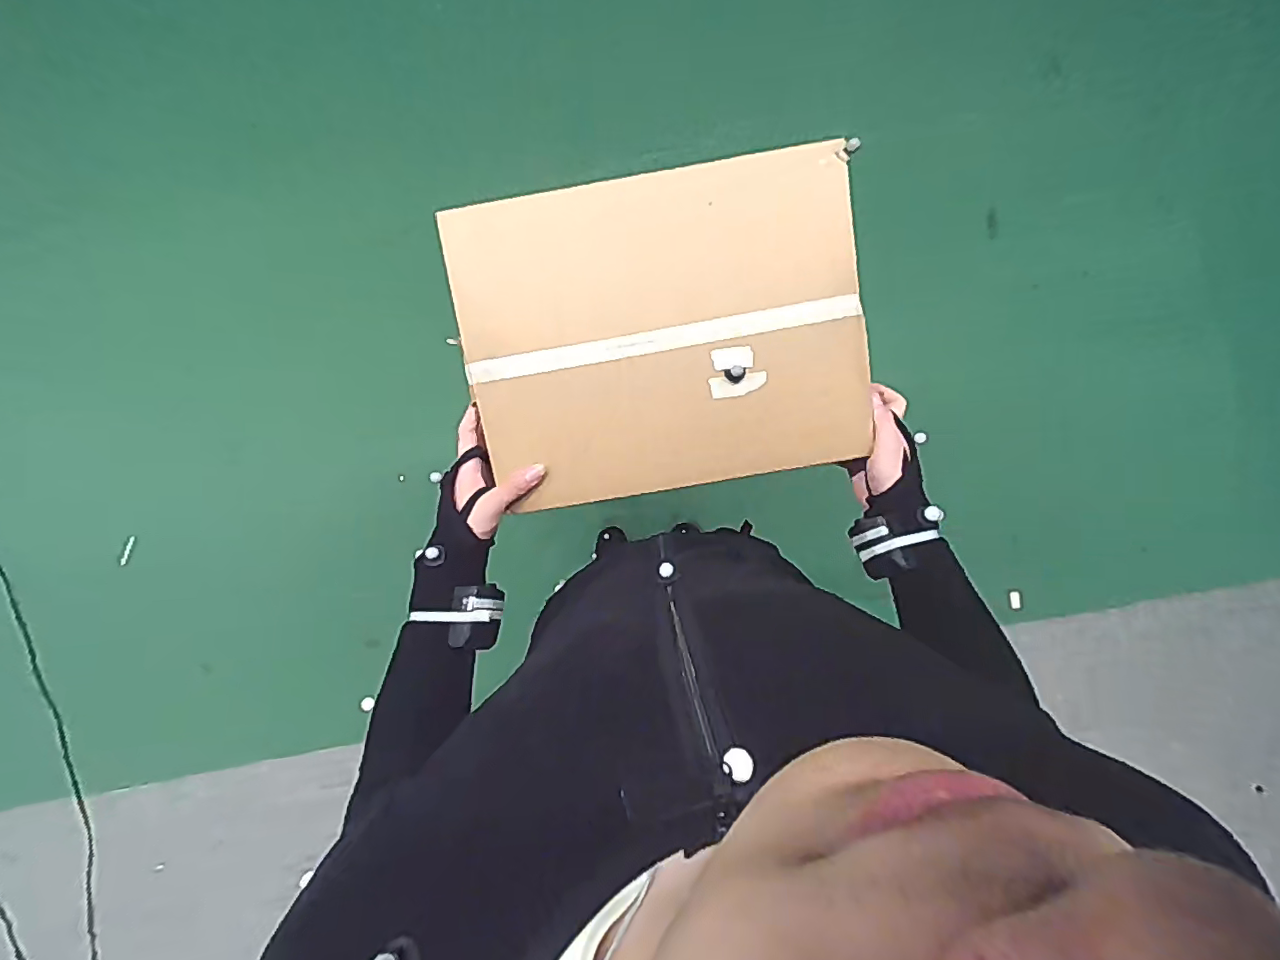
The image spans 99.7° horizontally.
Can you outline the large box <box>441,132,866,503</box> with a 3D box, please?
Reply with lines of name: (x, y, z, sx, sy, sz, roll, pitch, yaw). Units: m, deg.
large box: (0.019, -0.183, 0.704, 0.408, 0.320, 0.320, -10, 101, 1)
